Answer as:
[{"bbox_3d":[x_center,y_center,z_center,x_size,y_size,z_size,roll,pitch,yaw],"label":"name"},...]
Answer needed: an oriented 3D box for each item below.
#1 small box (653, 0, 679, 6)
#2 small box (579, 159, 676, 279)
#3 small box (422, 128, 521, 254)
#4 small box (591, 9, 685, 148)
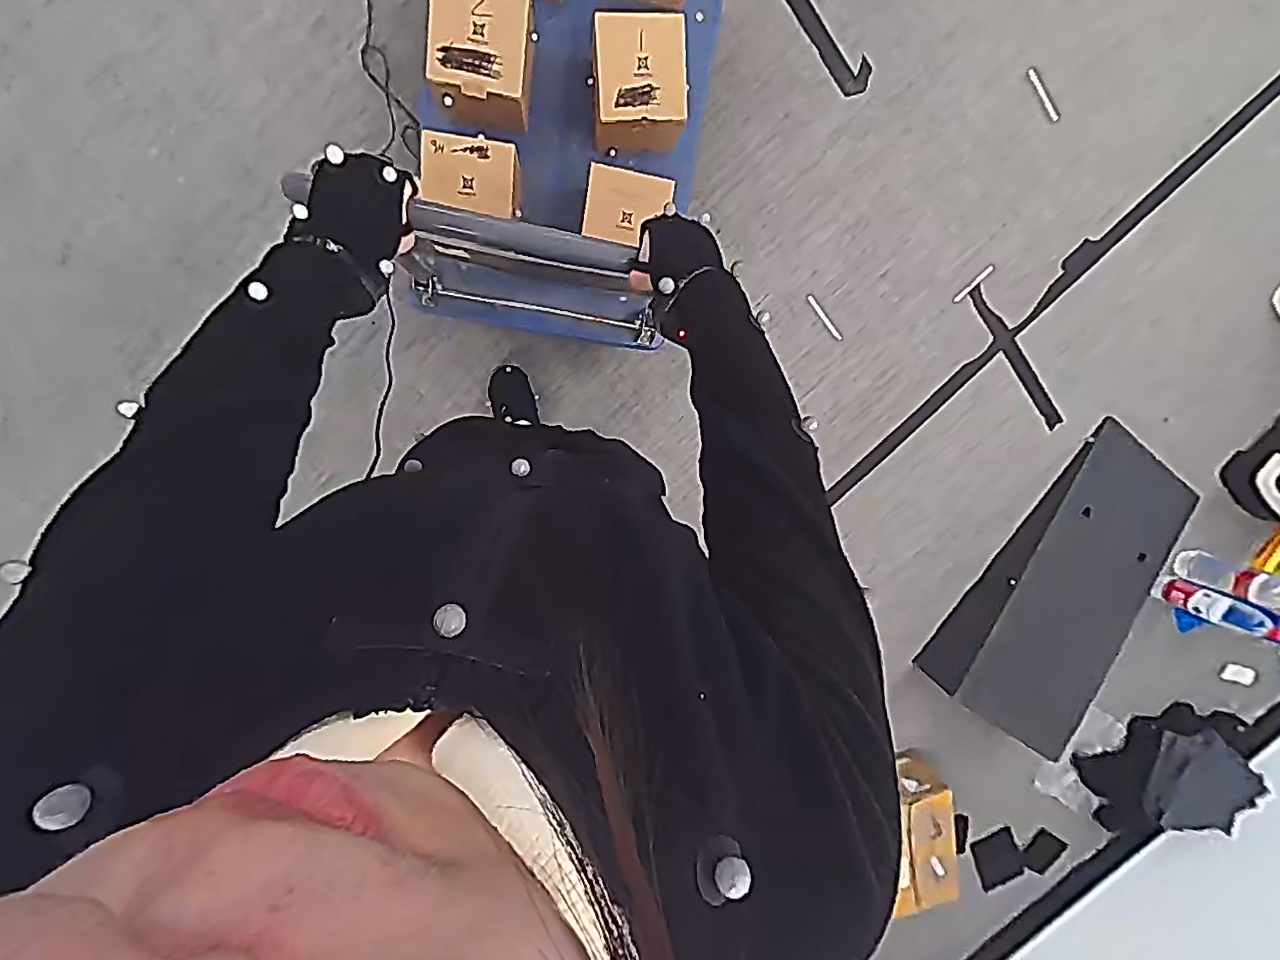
[{"bbox_3d":[0.019,-1.041,1.007,0.168,0.176,0.179,4,103,-9],"label":"small box"},{"bbox_3d":[-0.034,-0.527,1.122,0.168,0.176,0.179,8,102,-10],"label":"small box"},{"bbox_3d":[-0.327,-0.558,1.072,0.168,0.176,0.179,3,103,-10],"label":"small box"},{"bbox_3d":[-0.007,-0.777,1.066,0.168,0.176,0.179,-5,103,-7],"label":"small box"}]
